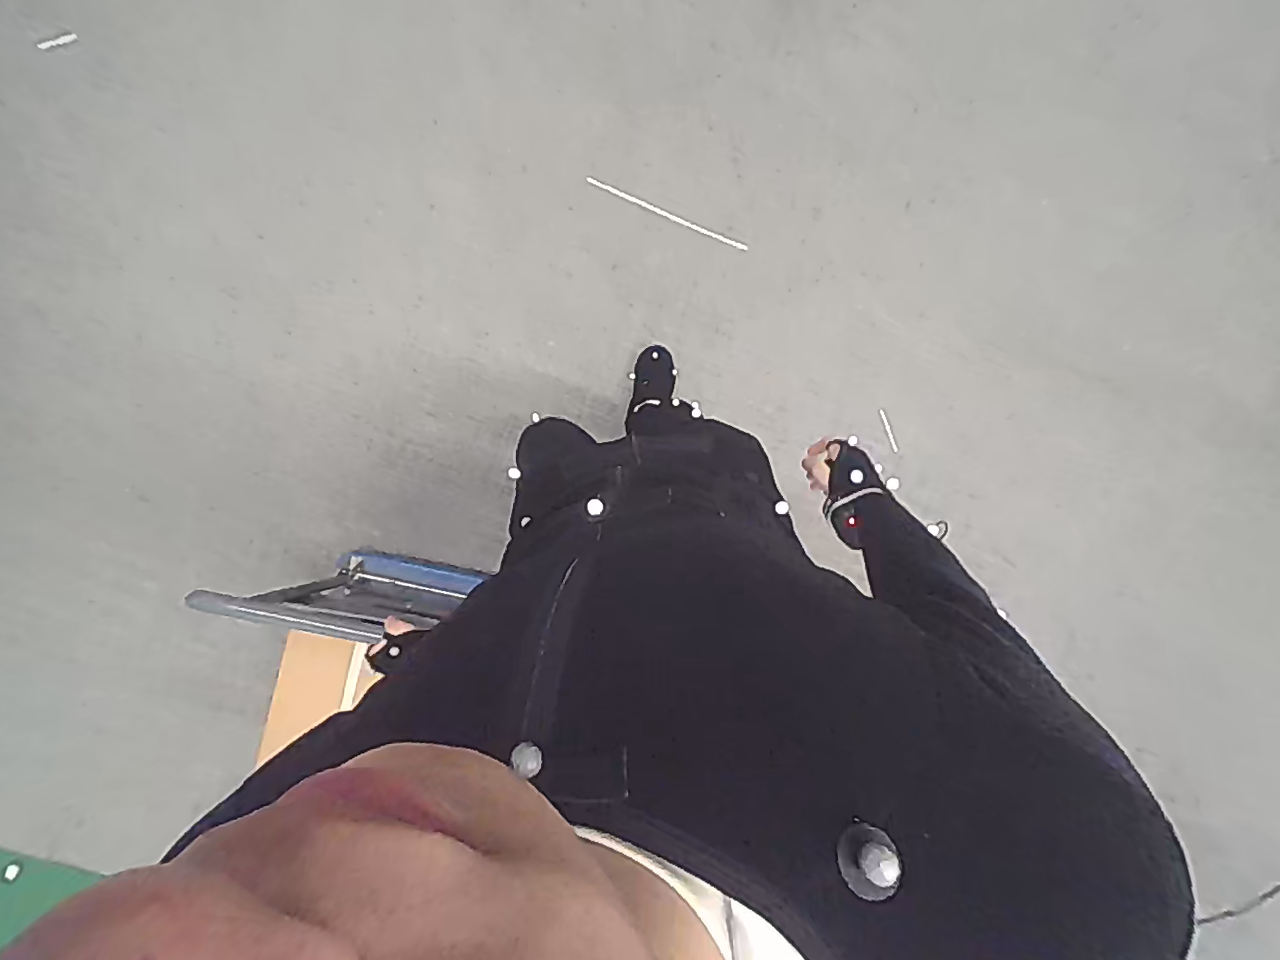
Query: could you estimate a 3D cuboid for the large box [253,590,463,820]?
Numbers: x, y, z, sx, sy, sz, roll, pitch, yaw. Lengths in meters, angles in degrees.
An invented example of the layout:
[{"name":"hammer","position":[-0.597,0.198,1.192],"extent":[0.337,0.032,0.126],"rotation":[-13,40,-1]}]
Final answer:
[{"name":"large box","position":[-0.647,0.513,1.307],"extent":[0.320,0.320,0.408],"rotation":[13,88,-7]}]
